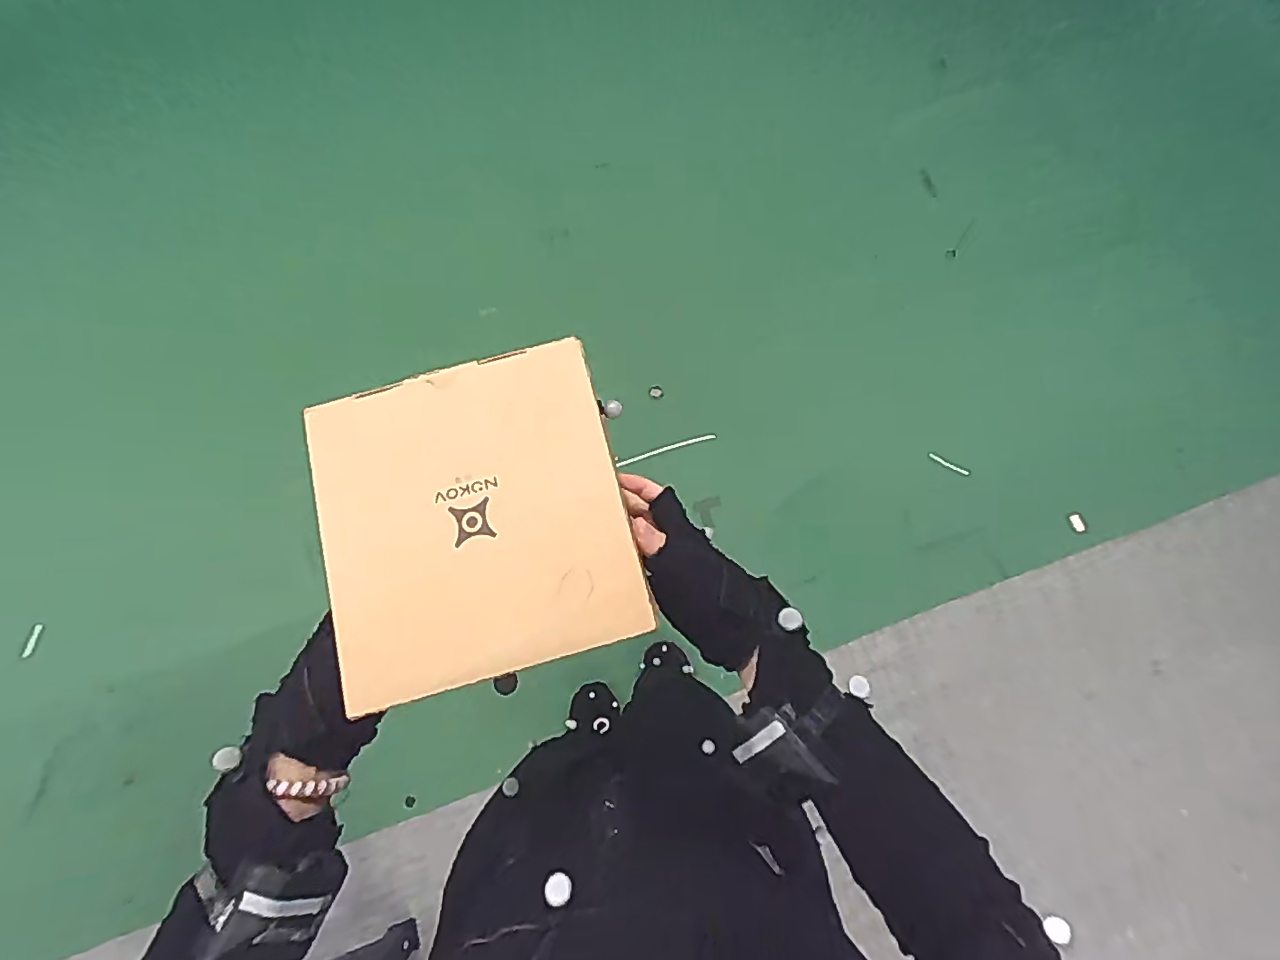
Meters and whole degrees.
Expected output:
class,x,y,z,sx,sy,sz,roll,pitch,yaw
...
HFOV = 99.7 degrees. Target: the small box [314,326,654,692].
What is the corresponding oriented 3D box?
class,x,y,z,sx,sy,sz,roll,pitch,yaw
small box,-0.088,0.027,0.379,0.168,0.176,0.179,-16,76,-2
